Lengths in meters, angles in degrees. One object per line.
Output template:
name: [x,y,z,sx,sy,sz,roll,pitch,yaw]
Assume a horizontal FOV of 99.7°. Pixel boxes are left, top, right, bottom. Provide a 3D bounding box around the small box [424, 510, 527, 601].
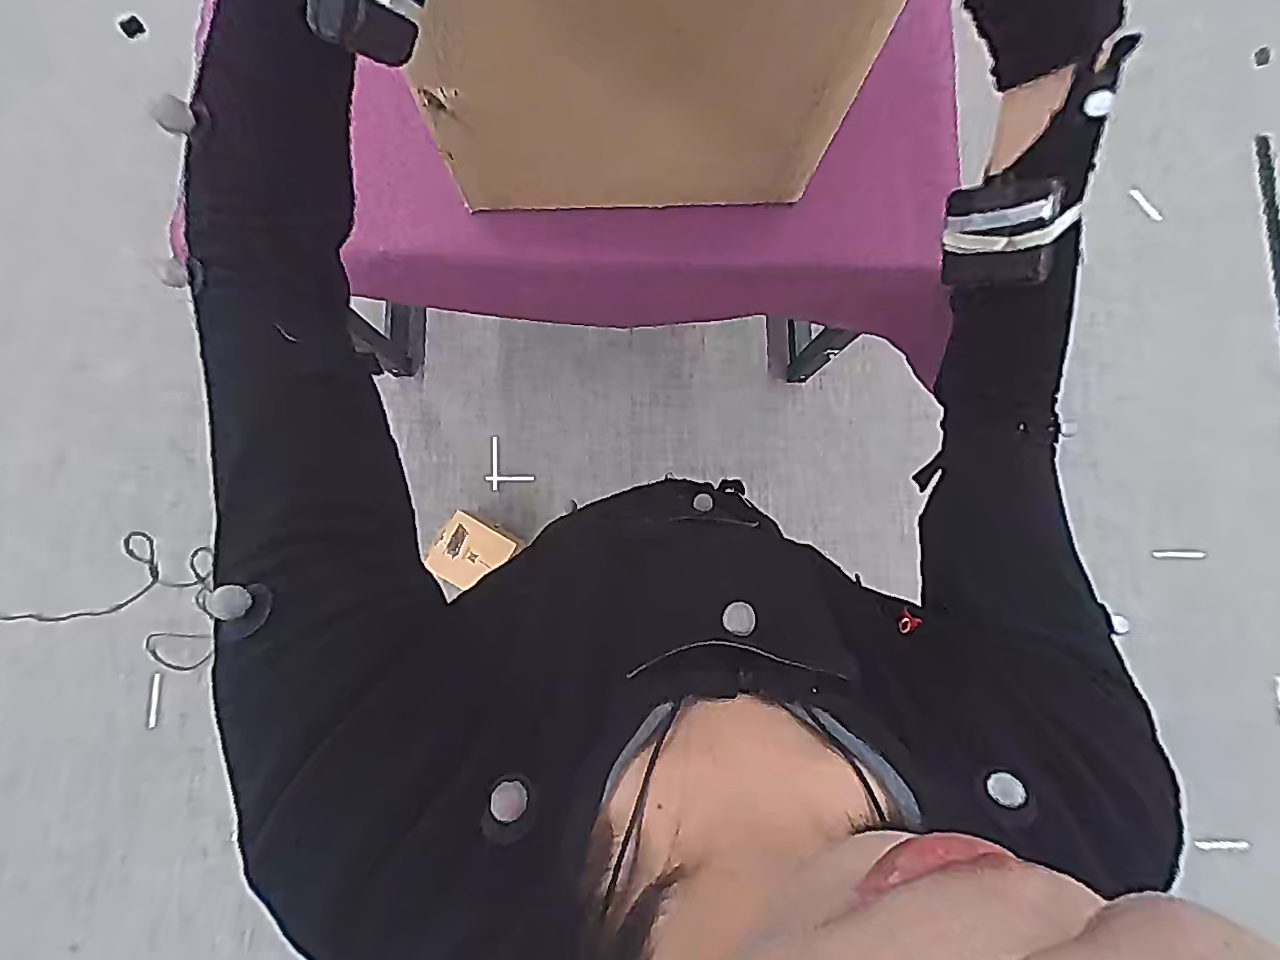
small box: [-0.419,0.195,1.409,0.179,0.176,0.168,31,84,0]
